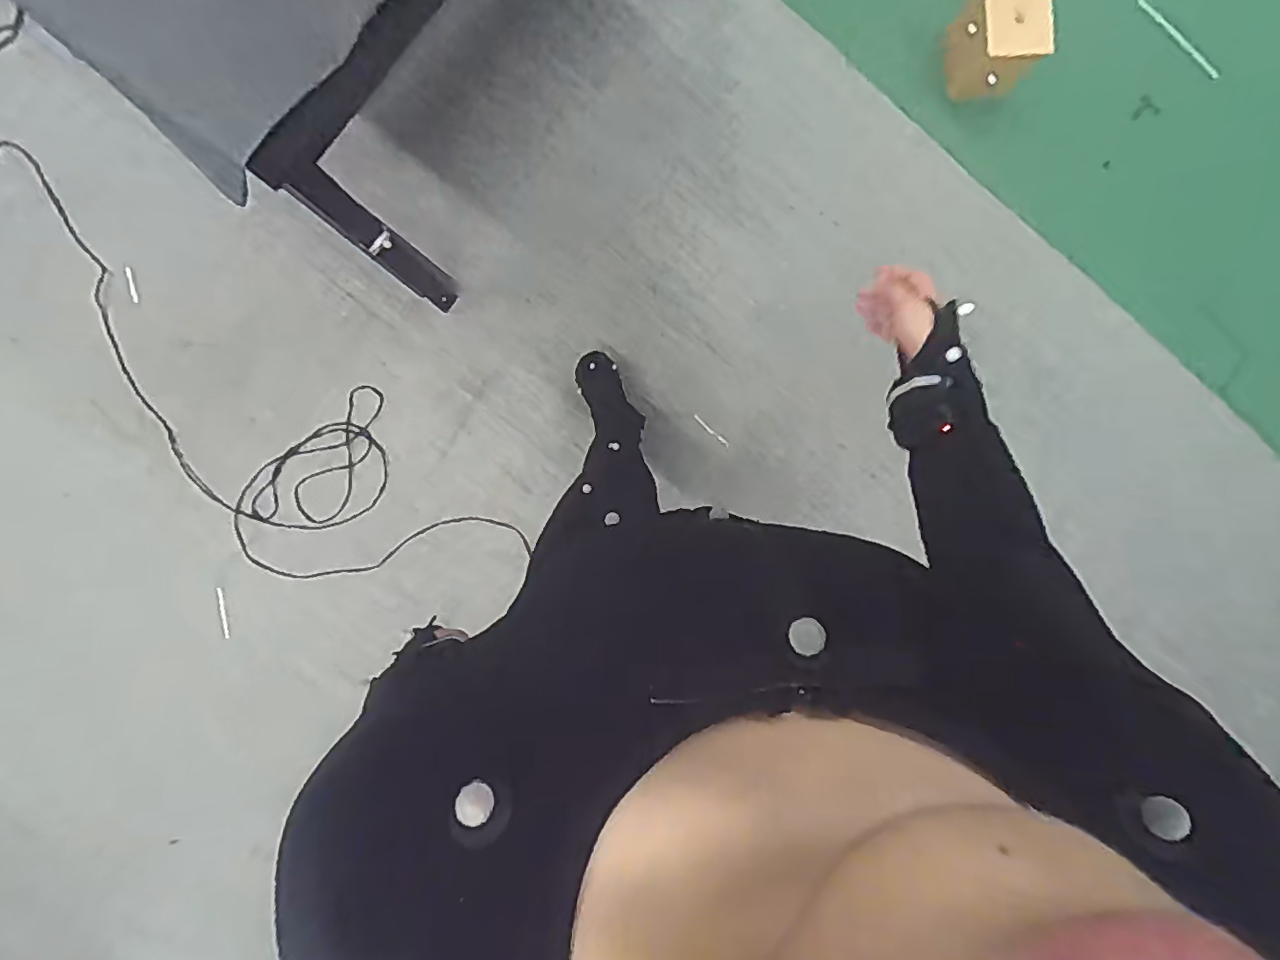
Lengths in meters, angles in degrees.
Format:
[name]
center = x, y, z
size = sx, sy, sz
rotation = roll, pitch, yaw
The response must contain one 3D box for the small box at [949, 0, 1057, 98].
[small box]
center = 0.914, -1.106, 1.373
size = 0.168, 0.176, 0.179
rotation = -5, 92, -2
